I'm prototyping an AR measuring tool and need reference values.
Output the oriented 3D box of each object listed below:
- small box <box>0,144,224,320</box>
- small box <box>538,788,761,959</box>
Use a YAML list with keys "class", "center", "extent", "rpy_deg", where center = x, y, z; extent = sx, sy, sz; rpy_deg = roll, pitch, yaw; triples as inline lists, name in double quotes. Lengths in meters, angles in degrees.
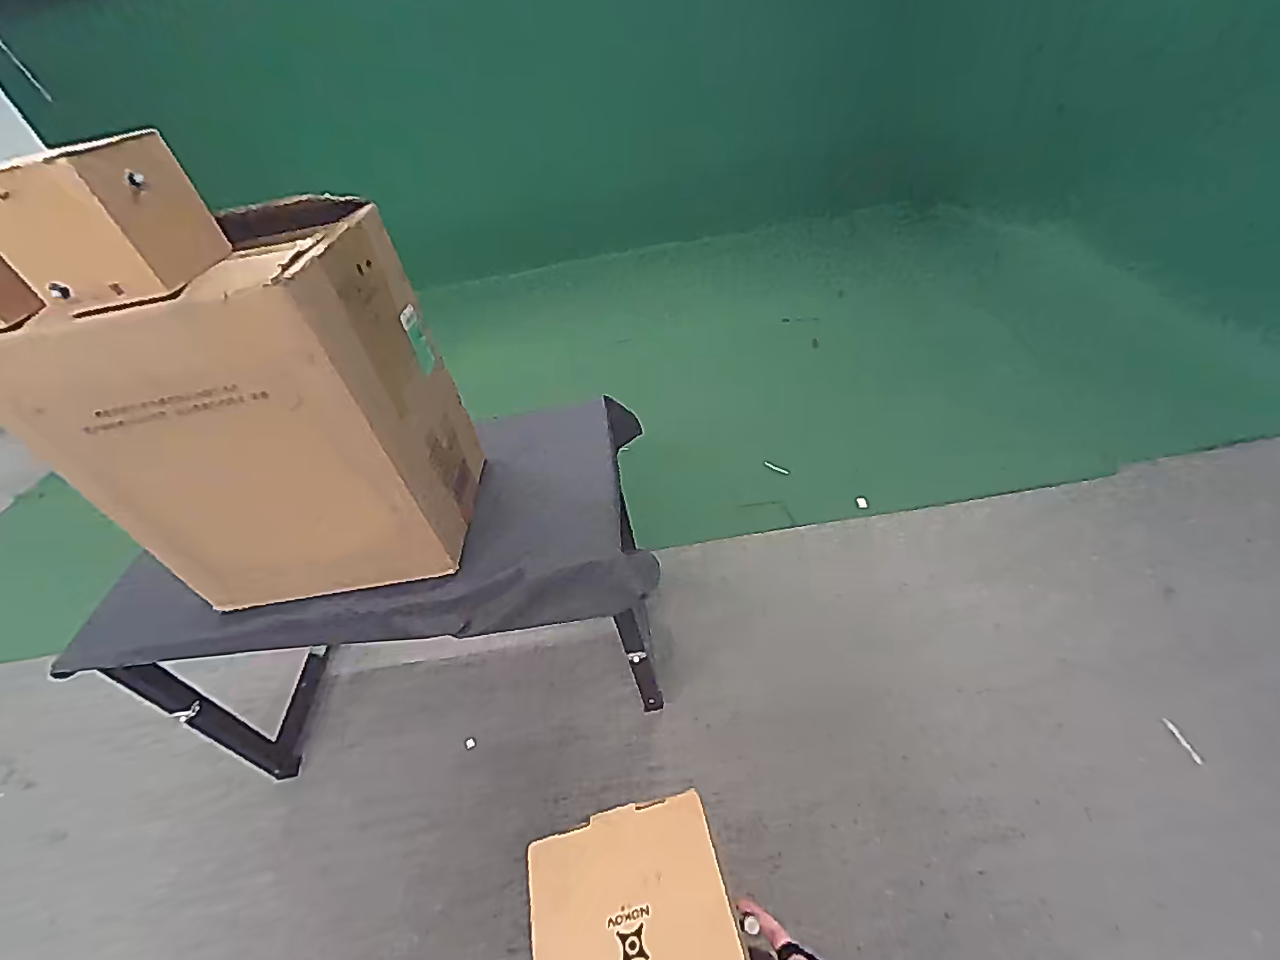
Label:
- class: "small box"
  center: [-0.726, -0.331, 0.734]
  extent: [0.168, 0.176, 0.179]
  rpy_deg: [-10, 40, 2]
- class: "small box"
  center: [0.018, 0.421, 0.486]
  extent: [0.168, 0.176, 0.179]
  rpy_deg: [-18, 40, -2]
